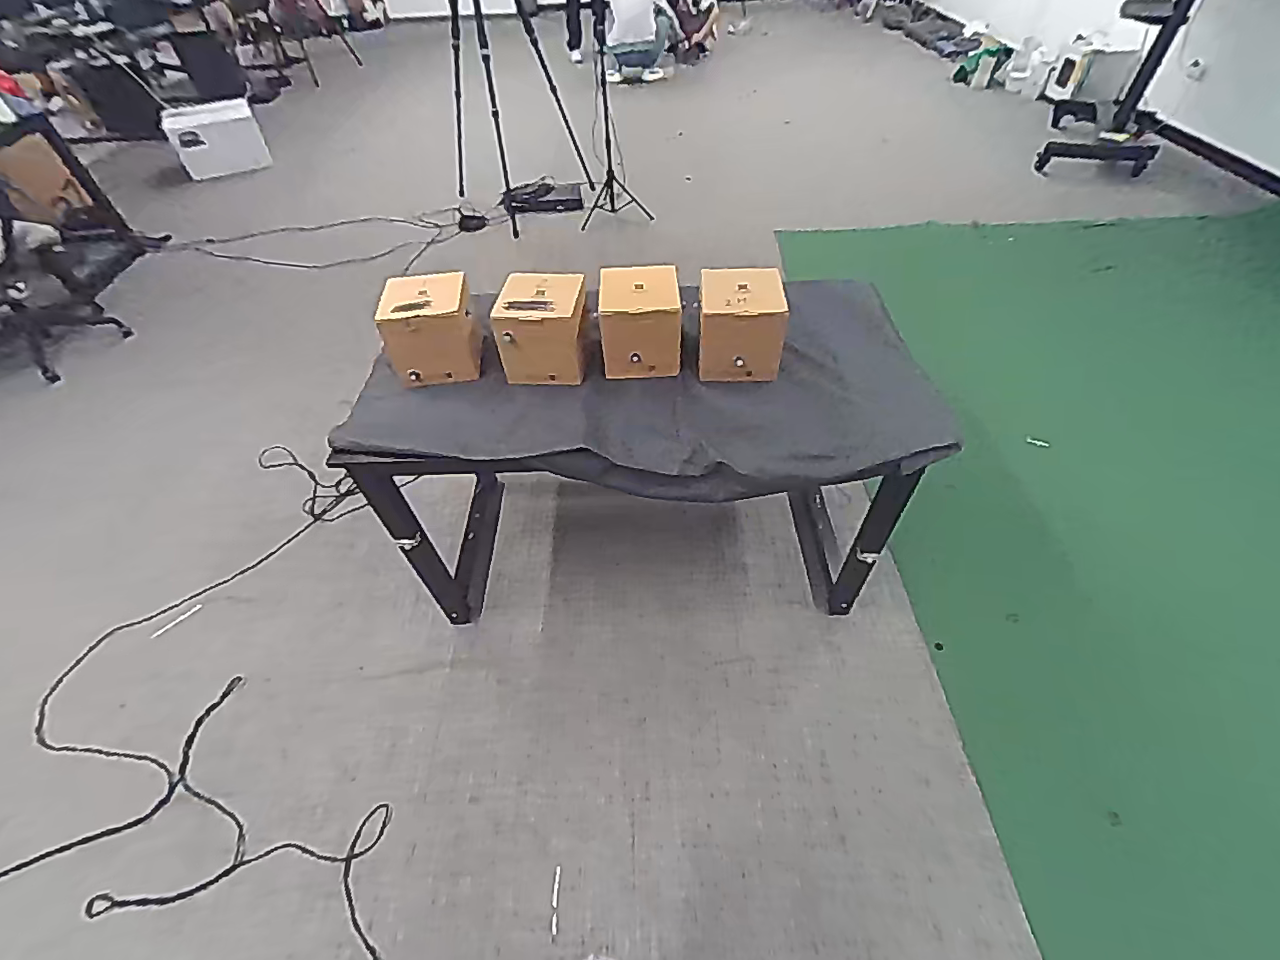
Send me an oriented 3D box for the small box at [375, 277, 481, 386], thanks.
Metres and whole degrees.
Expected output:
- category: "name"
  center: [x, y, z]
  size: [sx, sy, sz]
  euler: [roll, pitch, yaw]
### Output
- category: "small box"
  center: [-0.452, -0.318, 1.183]
  size: [0.168, 0.176, 0.179]
  euler: [-7, 47, -4]
